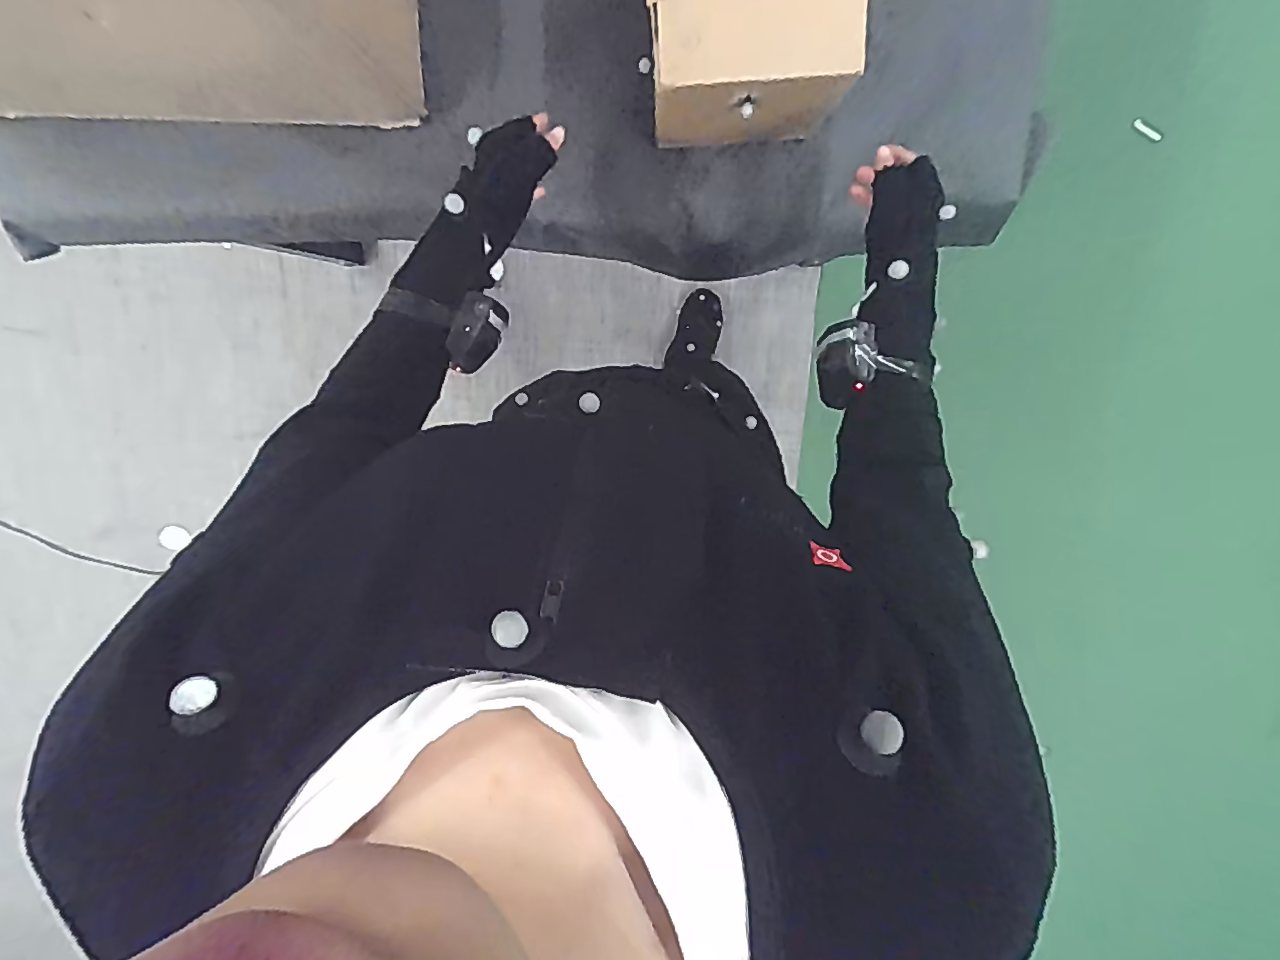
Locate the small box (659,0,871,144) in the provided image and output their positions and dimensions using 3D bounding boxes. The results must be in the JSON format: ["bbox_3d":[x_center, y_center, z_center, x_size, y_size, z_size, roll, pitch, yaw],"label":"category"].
[{"bbox_3d":[0.106,-0.442,0.519,0.179,0.176,0.168,-2,106,2],"label":"small box"}]
